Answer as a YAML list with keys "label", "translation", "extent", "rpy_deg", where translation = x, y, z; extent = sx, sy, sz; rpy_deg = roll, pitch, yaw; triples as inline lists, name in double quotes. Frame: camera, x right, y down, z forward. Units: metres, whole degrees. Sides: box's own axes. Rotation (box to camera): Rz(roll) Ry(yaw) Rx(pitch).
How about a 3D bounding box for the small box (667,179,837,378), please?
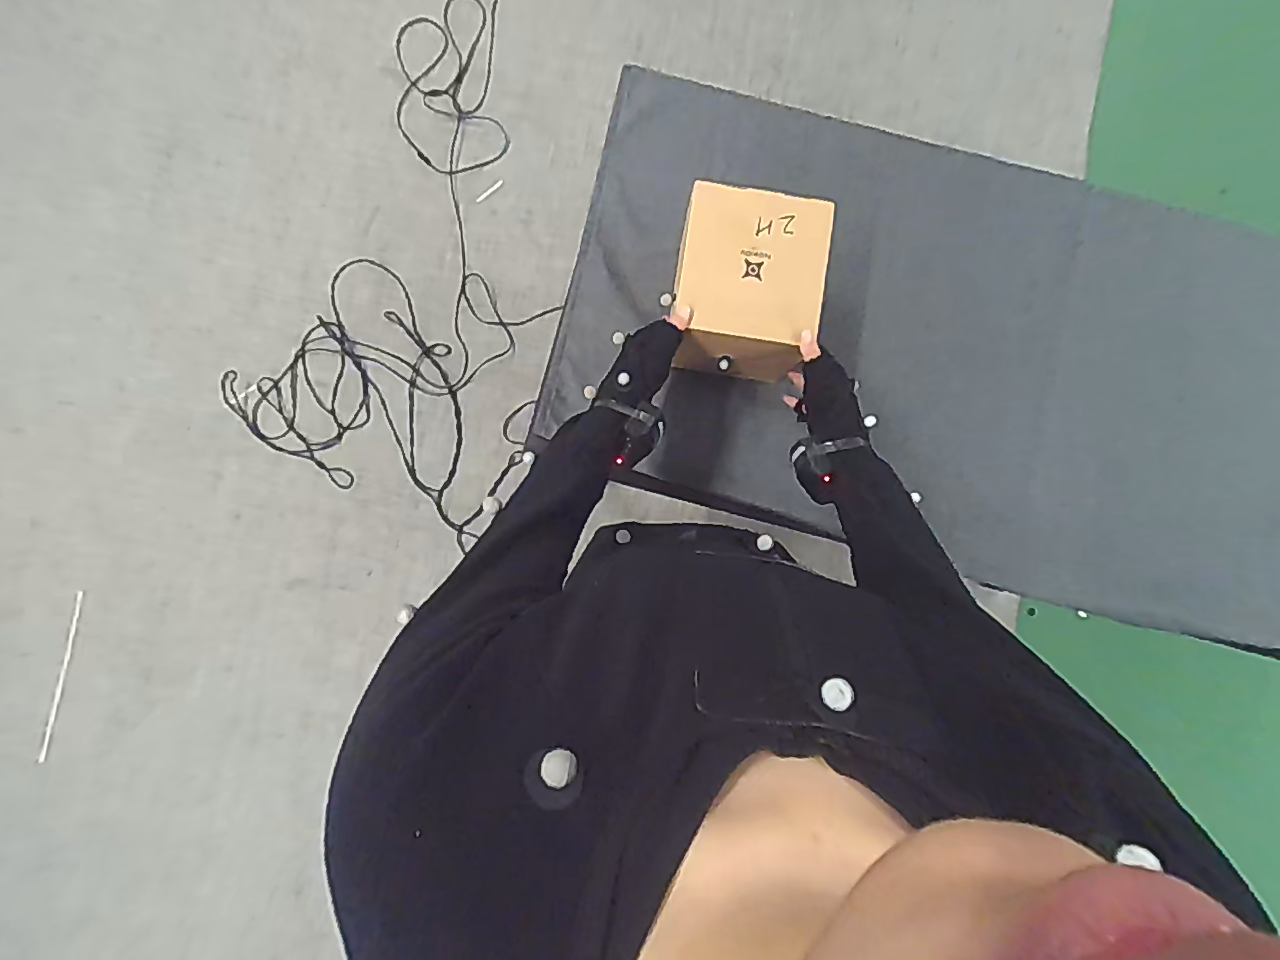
- label: "small box"
  translation: [0.130, -0.241, 0.691]
  extent: [0.168, 0.176, 0.179]
  rpy_deg: [9, 86, -1]
